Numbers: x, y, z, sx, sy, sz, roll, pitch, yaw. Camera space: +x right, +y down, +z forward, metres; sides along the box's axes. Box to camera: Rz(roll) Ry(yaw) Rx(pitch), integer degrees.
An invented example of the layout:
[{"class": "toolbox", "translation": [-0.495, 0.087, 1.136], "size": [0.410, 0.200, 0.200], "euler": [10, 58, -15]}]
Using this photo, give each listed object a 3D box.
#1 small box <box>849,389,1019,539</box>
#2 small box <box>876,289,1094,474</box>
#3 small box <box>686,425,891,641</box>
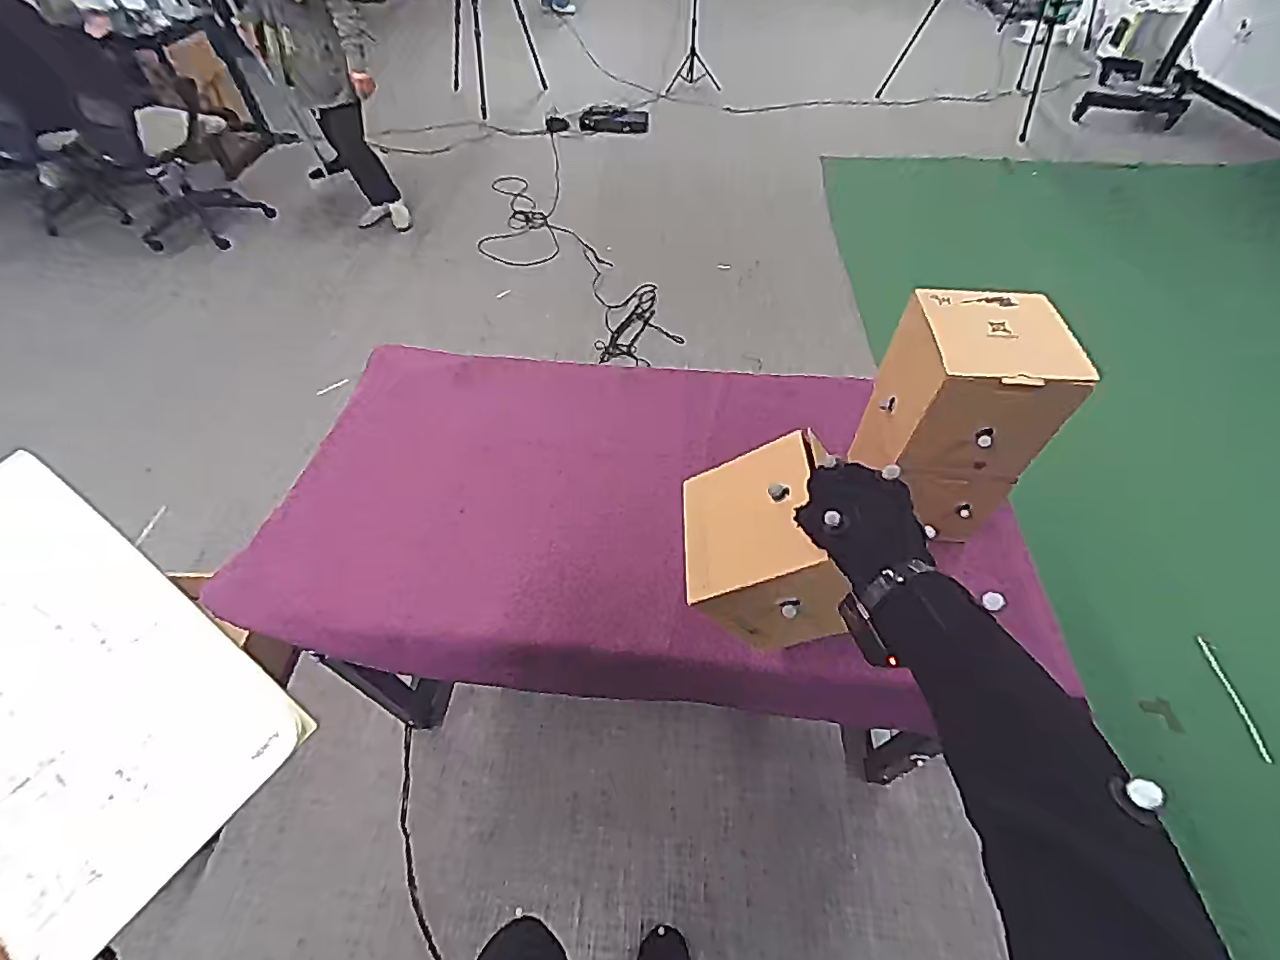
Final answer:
[{"class": "small box", "translation": [0.440, -0.024, 0.843], "size": [0.168, 0.176, 0.179], "euler": [5, 51, 5]}, {"class": "small box", "translation": [0.431, -0.126, 0.714], "size": [0.168, 0.176, 0.179], "euler": [5, 52, 4]}, {"class": "small box", "translation": [0.168, 0.073, 0.649], "size": [0.176, 0.168, 0.179], "euler": [-27, 42, 30]}]
